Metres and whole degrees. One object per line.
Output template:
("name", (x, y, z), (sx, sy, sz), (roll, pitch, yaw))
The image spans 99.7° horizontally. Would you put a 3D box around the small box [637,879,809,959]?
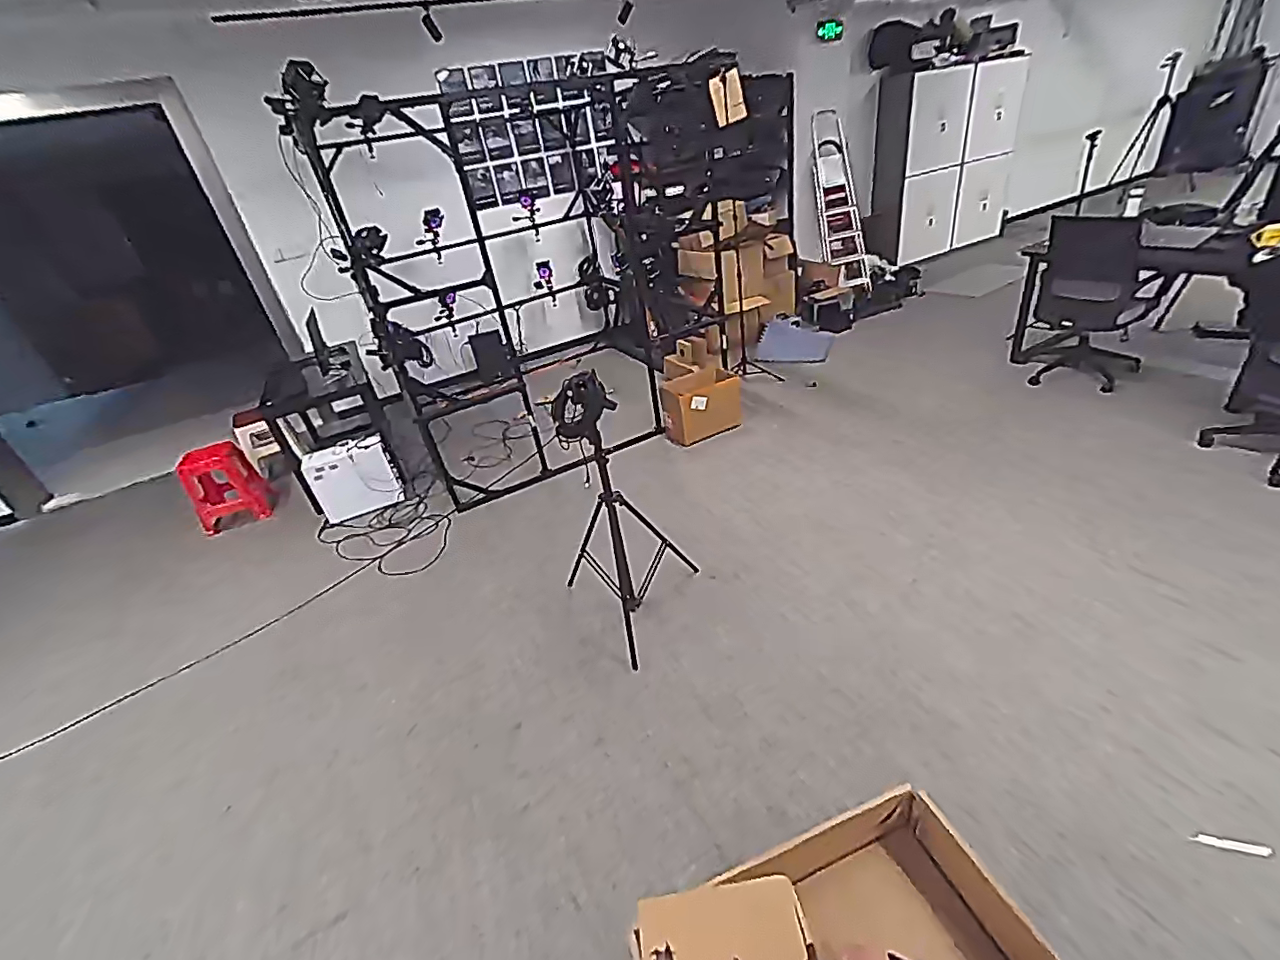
("small box", (0.094, 0.572, 0.589), (0.179, 0.176, 0.168), (-7, 34, -3))
